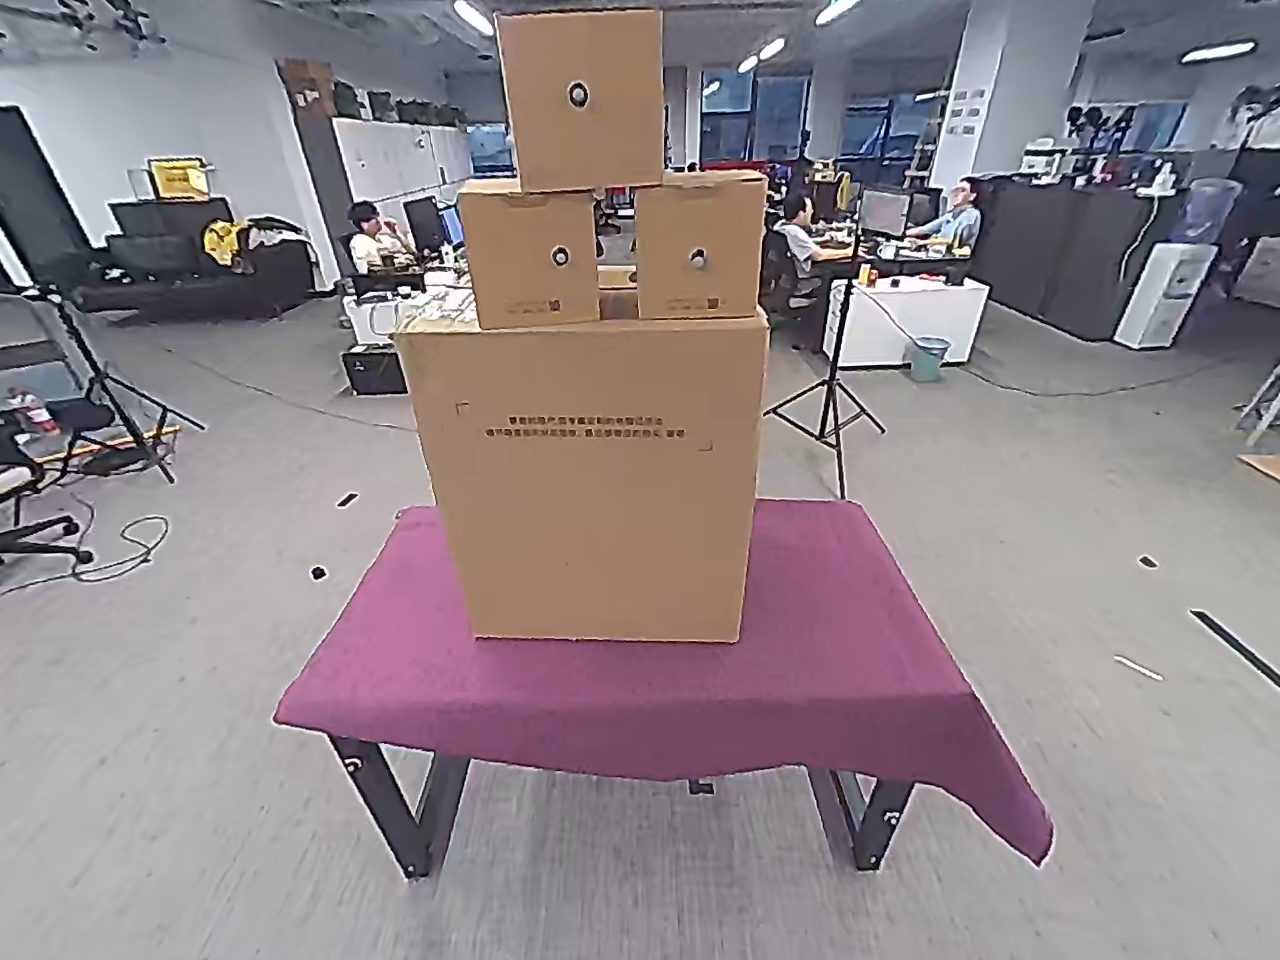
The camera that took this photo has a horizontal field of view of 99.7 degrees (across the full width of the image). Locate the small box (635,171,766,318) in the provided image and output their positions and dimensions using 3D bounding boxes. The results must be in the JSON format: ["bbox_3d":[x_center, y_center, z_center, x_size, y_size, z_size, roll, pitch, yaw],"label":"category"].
[{"bbox_3d":[0.083,-0.338,0.779,0.168,0.176,0.179,0,34,3],"label":"small box"}]

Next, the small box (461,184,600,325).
[{"bbox_3d":[-0.150,-0.324,0.775,0.168,0.176,0.179,-6,32,-9],"label":"small box"}]

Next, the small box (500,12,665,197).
[{"bbox_3d":[-0.064,-0.461,0.677,0.179,0.176,0.168,-6,34,-3],"label":"small box"}]
